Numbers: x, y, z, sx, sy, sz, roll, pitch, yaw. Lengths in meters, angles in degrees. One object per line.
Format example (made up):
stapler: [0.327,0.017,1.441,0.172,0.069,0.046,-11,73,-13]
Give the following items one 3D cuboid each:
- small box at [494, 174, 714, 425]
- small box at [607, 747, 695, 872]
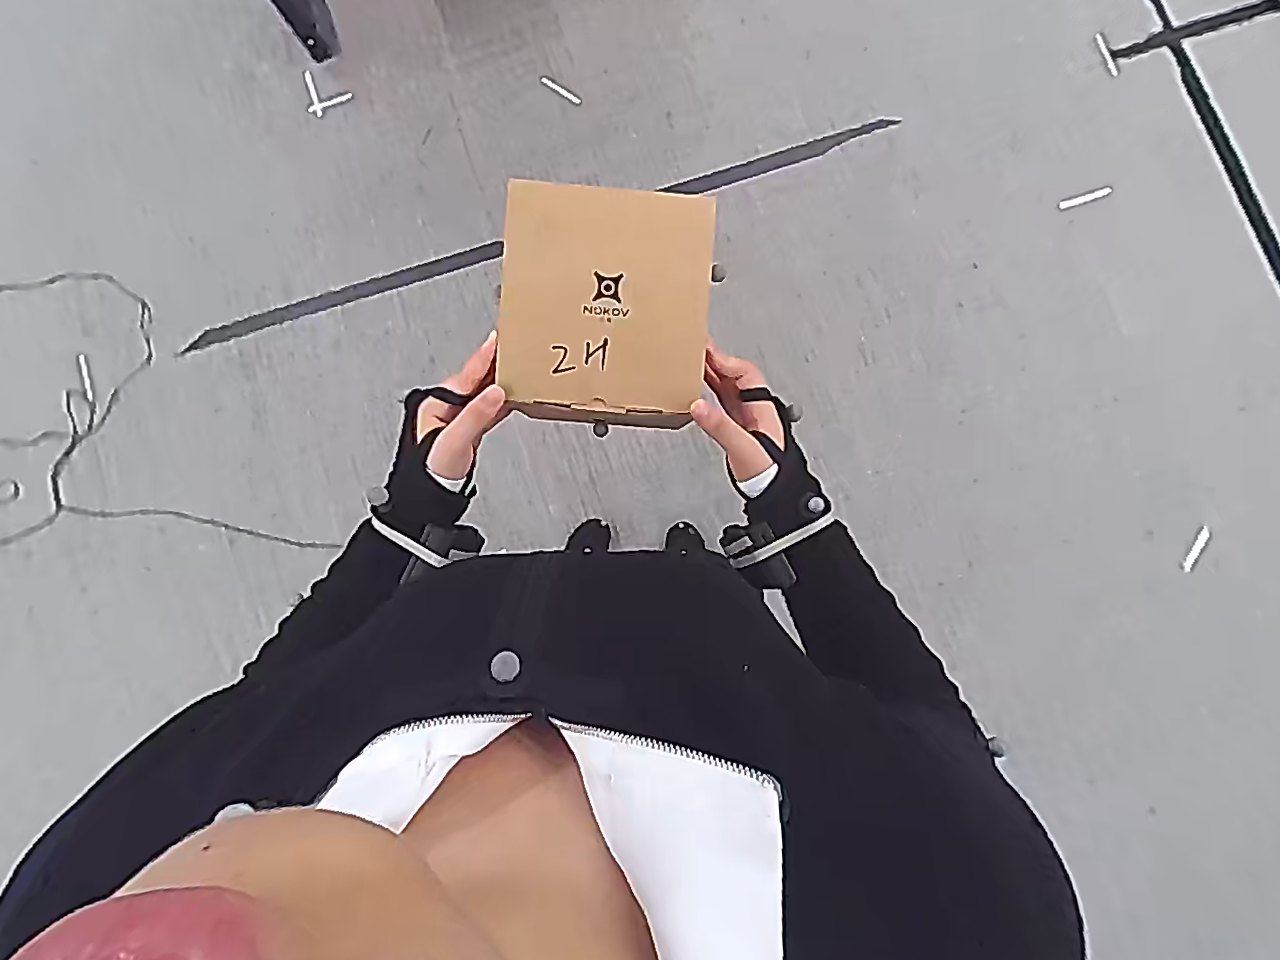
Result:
small box: [-0.031,-0.151,0.509,0.168,0.176,0.179,4,91,-1]
small box: [0.027,0.759,1.261,0.168,0.176,0.179,-14,85,0]
